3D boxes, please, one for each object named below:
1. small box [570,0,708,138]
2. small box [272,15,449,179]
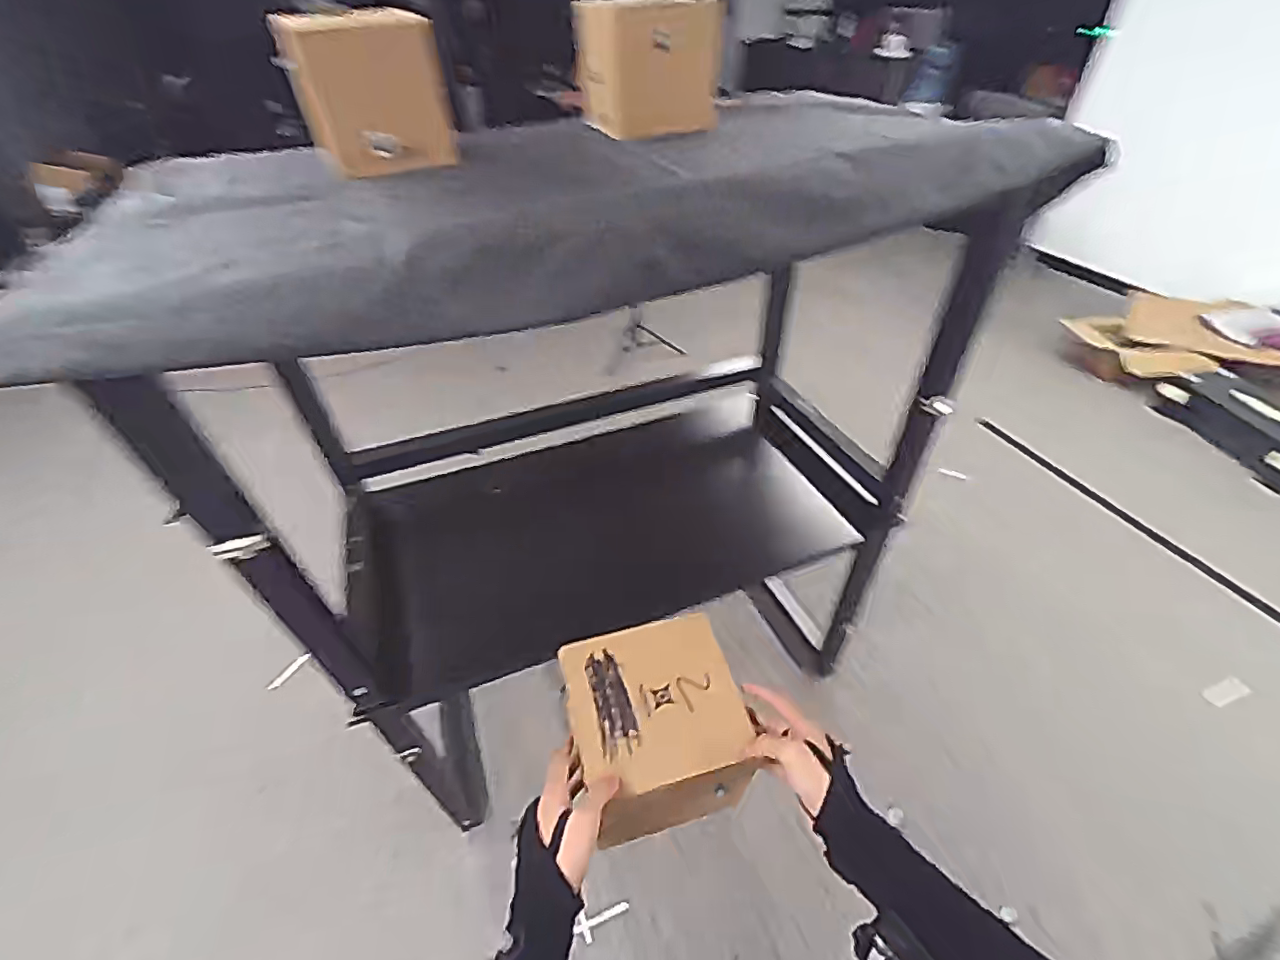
[{"bbox_3d":[-0.001,-0.682,0.895,0.179,0.176,0.168,-17,45,-15],"label":"small box"},{"bbox_3d":[-0.391,-0.544,0.767,0.168,0.176,0.179,-23,47,-19],"label":"small box"}]
